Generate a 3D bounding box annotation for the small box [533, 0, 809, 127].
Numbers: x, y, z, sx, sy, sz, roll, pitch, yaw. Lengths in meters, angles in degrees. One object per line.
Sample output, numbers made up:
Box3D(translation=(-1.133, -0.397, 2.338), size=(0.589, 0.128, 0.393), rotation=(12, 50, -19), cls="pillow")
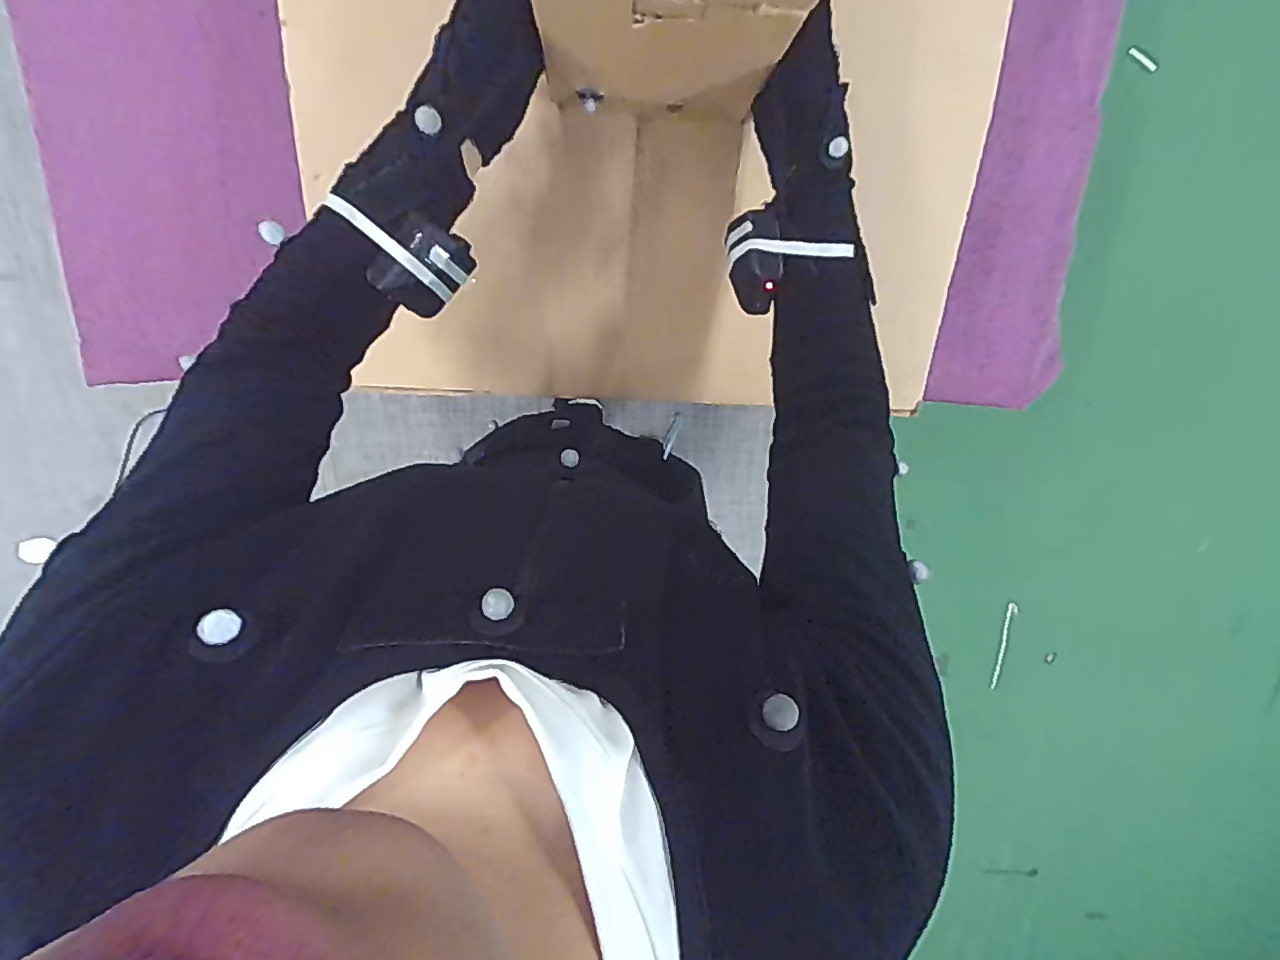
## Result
Box3D(translation=(0.020, -0.374, 0.373), size=(0.168, 0.176, 0.179), rotation=(3, 103, -5), cls="small box")
